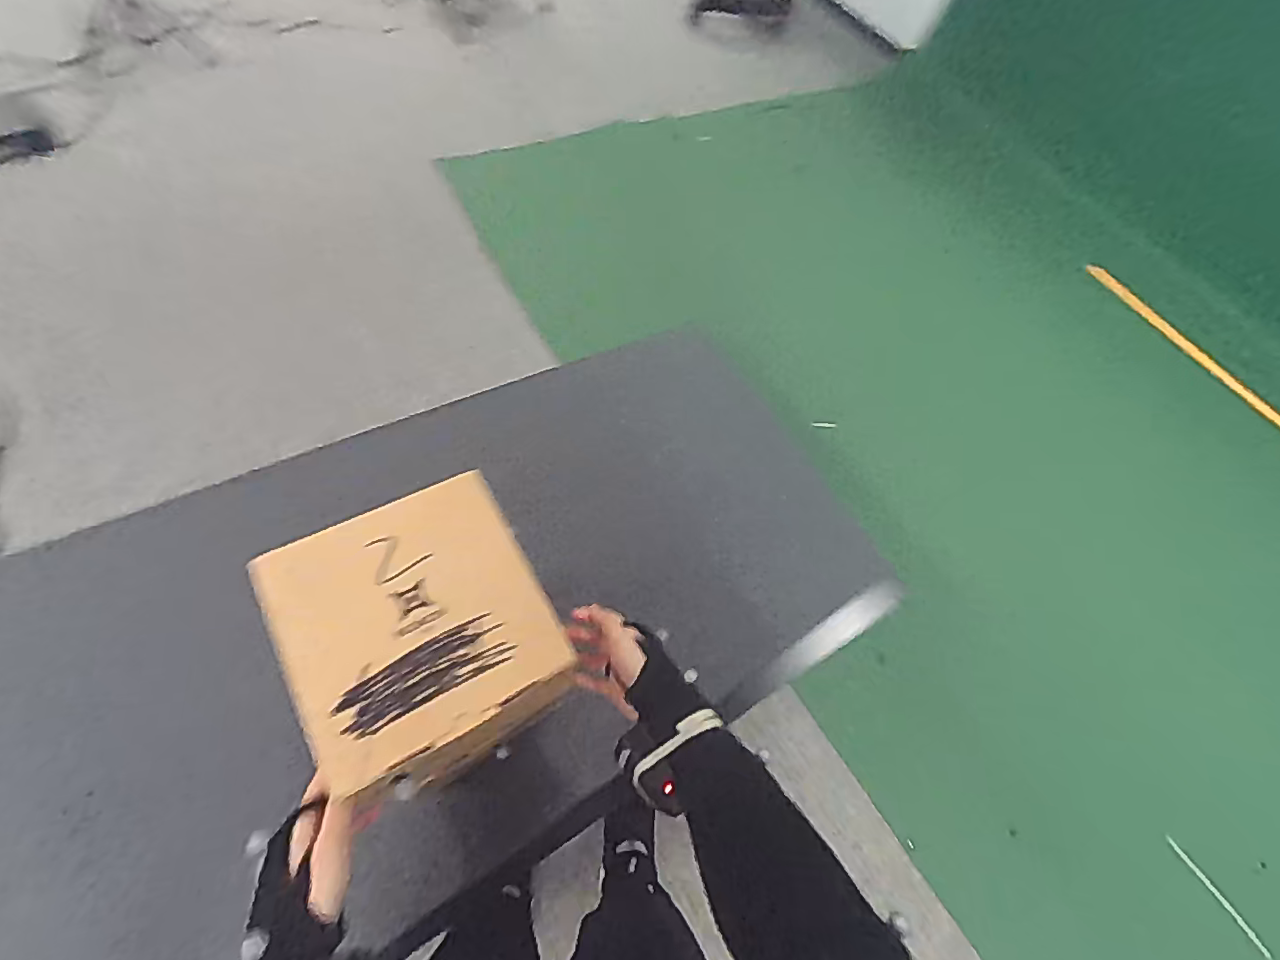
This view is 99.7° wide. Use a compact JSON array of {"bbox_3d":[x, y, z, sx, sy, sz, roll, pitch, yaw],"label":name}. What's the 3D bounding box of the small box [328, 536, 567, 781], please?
[{"bbox_3d":[-0.197,0.196,0.583,0.168,0.176,0.179,-29,71,-24],"label":"small box"}]
